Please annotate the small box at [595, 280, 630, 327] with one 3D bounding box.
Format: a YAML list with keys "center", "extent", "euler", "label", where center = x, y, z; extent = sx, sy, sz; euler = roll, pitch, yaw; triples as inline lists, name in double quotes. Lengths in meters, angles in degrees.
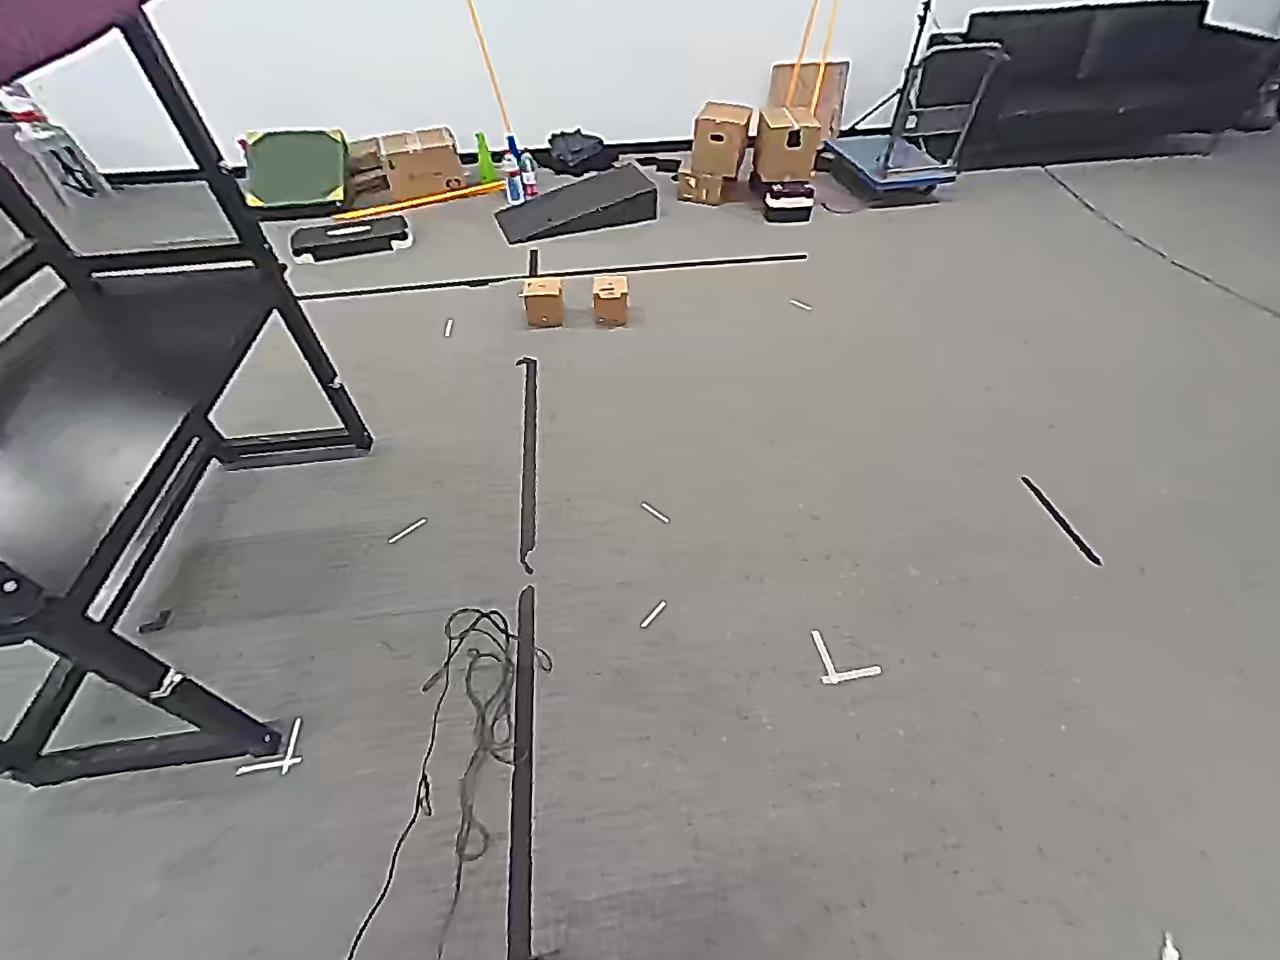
- center: [-0.133, -0.883, 2.717]
  extent: [0.168, 0.176, 0.179]
  euler: [-1, 47, -1]
  label: "small box"

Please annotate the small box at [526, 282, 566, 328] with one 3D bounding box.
- center: [-0.465, -0.874, 2.709]
  extent: [0.179, 0.176, 0.168]
  euler: [-1, 48, -2]
  label: "small box"
